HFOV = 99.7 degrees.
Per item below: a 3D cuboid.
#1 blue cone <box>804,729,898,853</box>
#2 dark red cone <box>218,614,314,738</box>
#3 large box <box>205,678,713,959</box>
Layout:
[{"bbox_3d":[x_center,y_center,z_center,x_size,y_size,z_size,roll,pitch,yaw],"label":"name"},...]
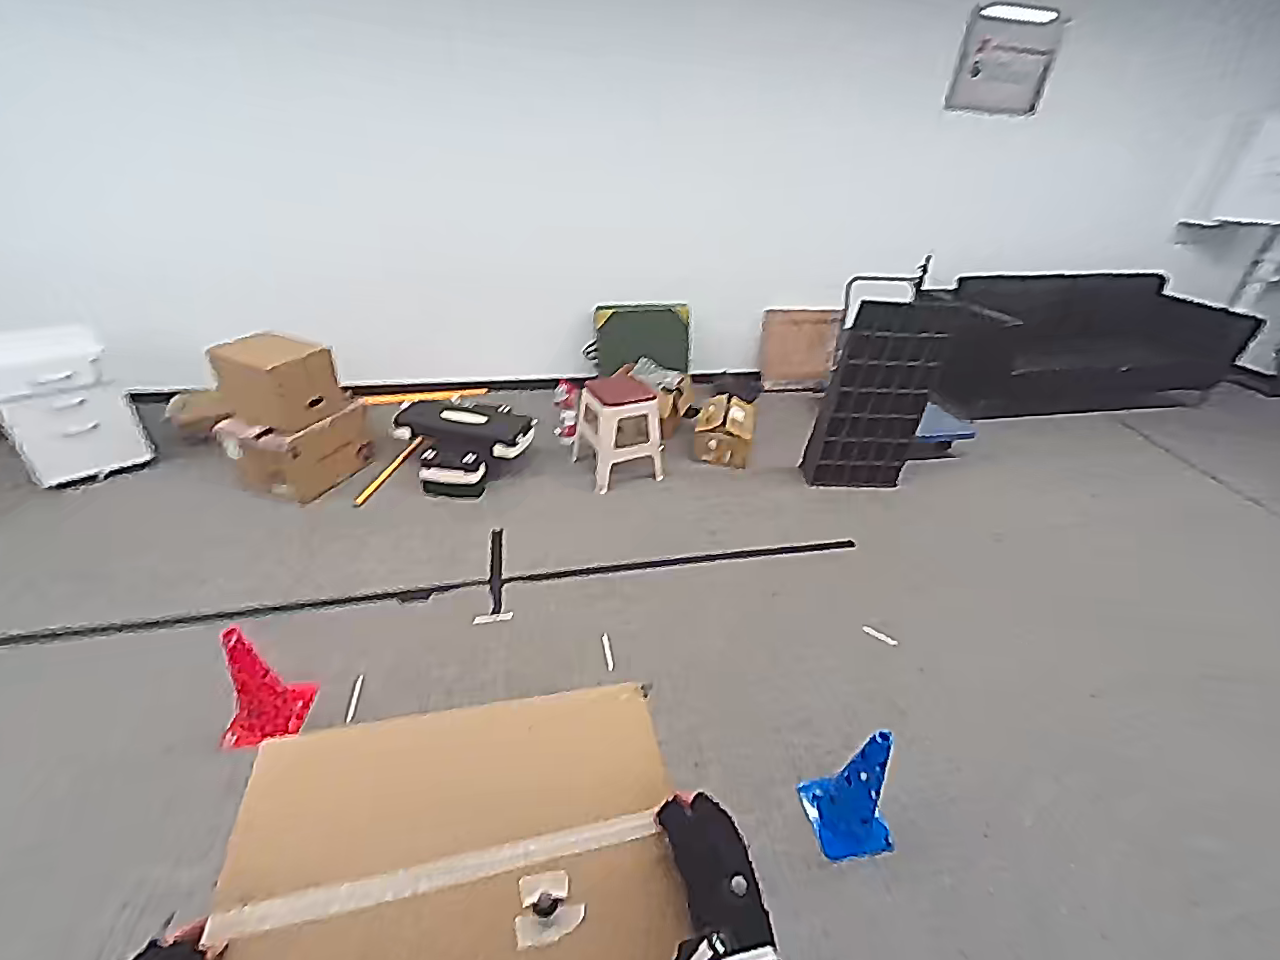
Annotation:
[{"bbox_3d":[0.569,0.764,1.378,0.192,0.380,0.193,-1,32,-10],"label":"blue cone"},{"bbox_3d":[-1.080,0.529,1.504,0.201,0.394,0.202,0,32,-8],"label":"dark red cone"},{"bbox_3d":[-0.178,0.467,0.588,0.408,0.320,0.320,-3,38,-15],"label":"large box"}]
